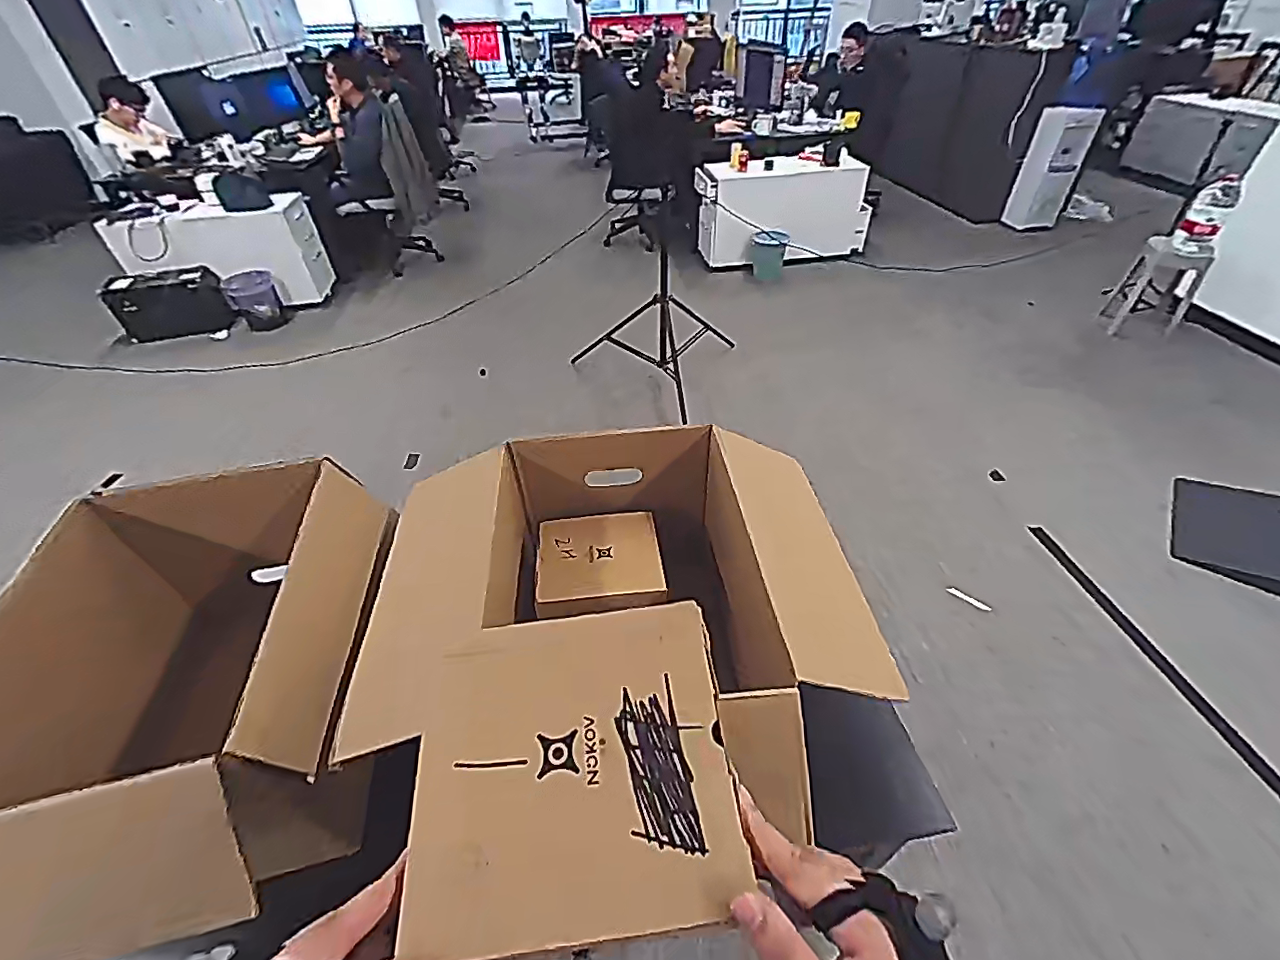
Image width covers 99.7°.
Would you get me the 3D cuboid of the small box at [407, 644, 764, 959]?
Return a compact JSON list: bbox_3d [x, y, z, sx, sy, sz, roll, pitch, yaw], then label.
[{"bbox_3d":[-0.032,0.229,0.365,0.179,0.176,0.168,-7,51,-3],"label":"small box"}]
